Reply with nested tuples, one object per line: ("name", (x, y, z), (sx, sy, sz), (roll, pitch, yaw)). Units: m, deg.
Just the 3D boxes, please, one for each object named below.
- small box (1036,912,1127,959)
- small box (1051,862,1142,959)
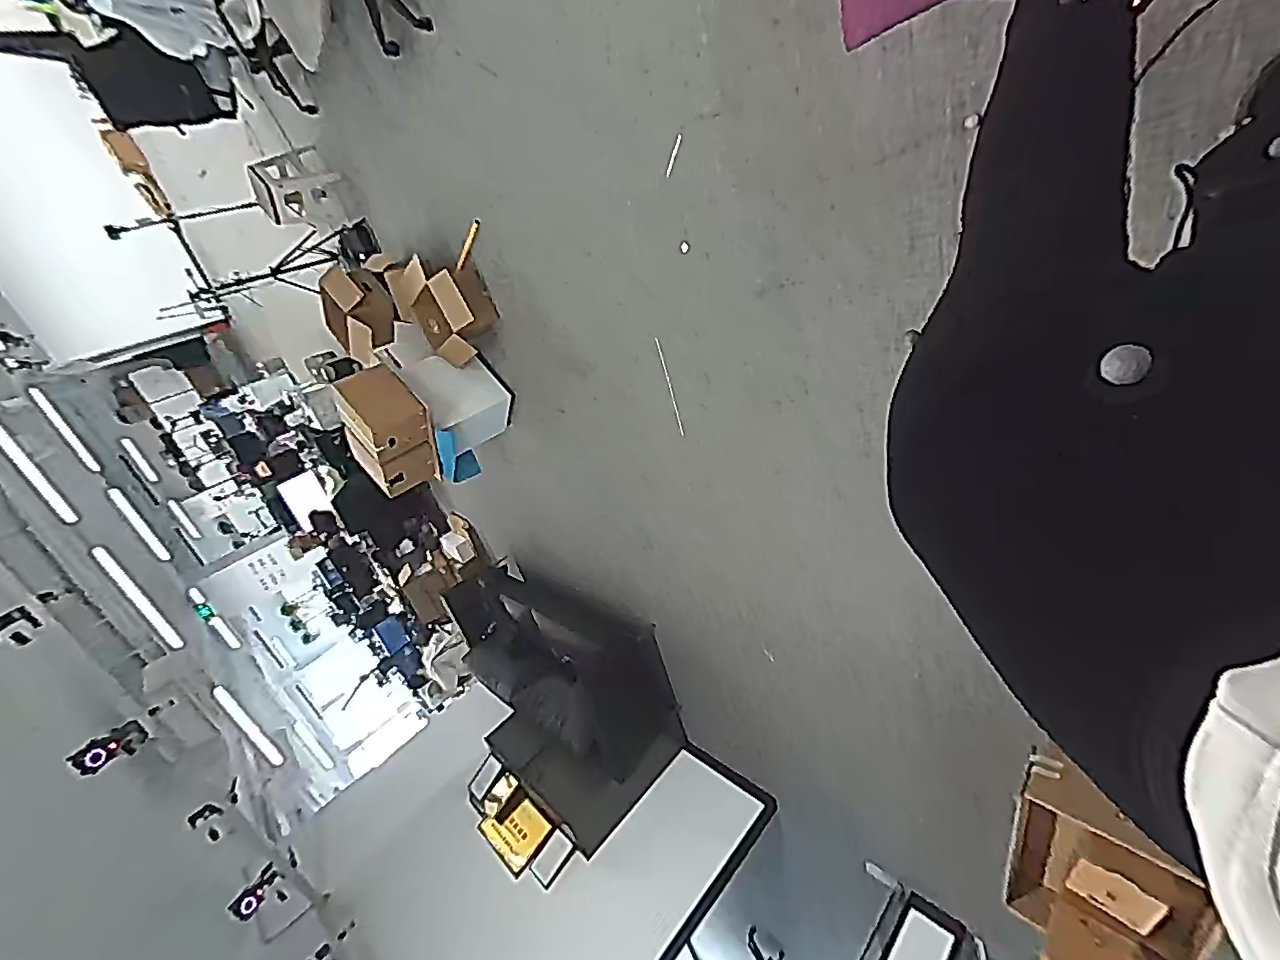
("small box", (1.133, 1.286, 1.395), (0.168, 0.176, 0.179), (15, 127, 46))
("small box", (1.247, 1.216, 1.486), (0.168, 0.176, 0.179), (15, 127, 45))
